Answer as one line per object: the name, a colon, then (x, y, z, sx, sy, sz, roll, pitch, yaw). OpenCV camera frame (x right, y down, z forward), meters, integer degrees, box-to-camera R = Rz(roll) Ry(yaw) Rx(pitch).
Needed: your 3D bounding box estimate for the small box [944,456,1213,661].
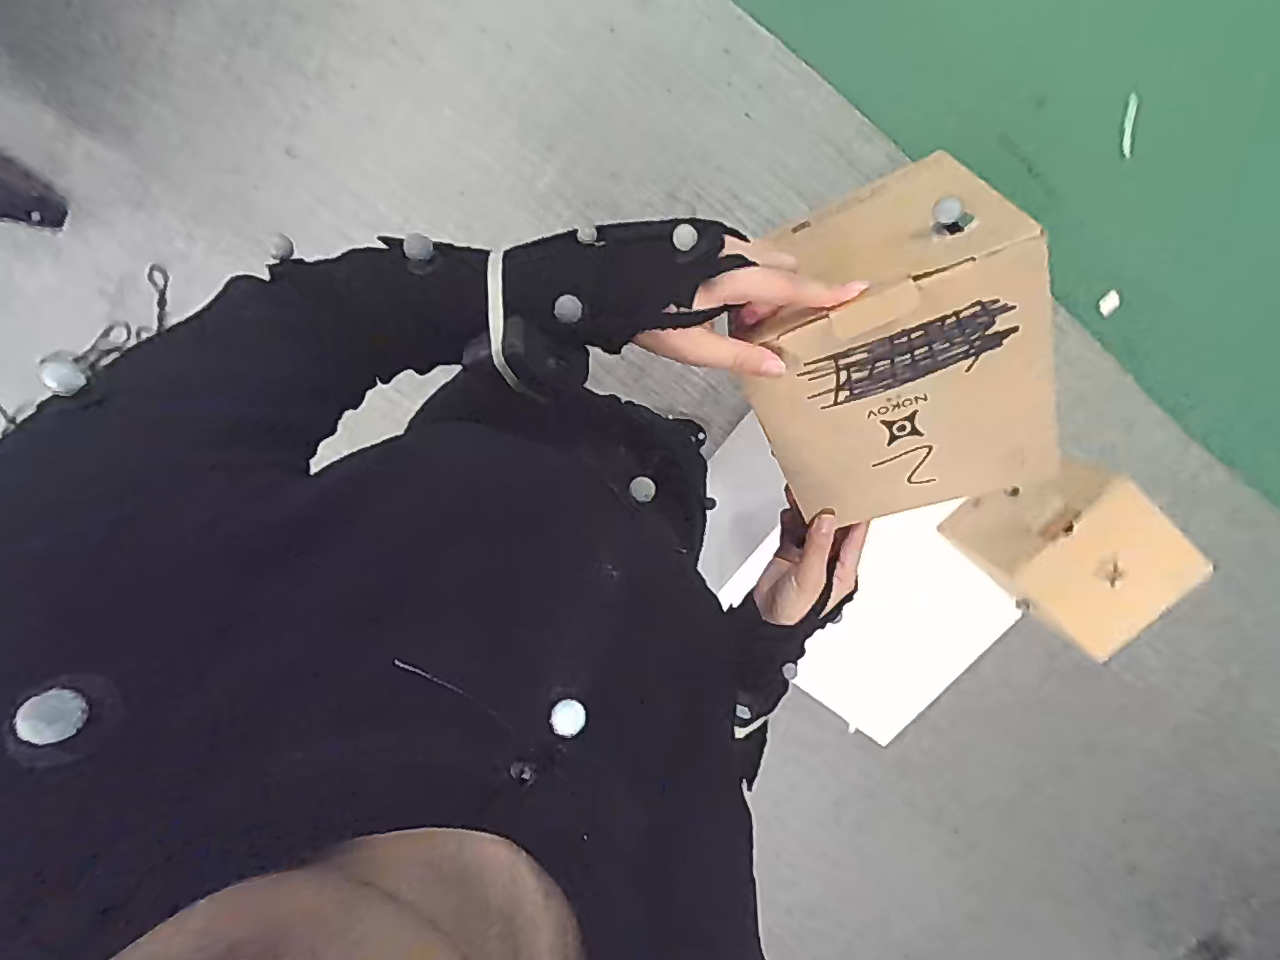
small box: (0.553, 0.090, 0.709, 0.179, 0.176, 0.168, 40, 102, -9)
